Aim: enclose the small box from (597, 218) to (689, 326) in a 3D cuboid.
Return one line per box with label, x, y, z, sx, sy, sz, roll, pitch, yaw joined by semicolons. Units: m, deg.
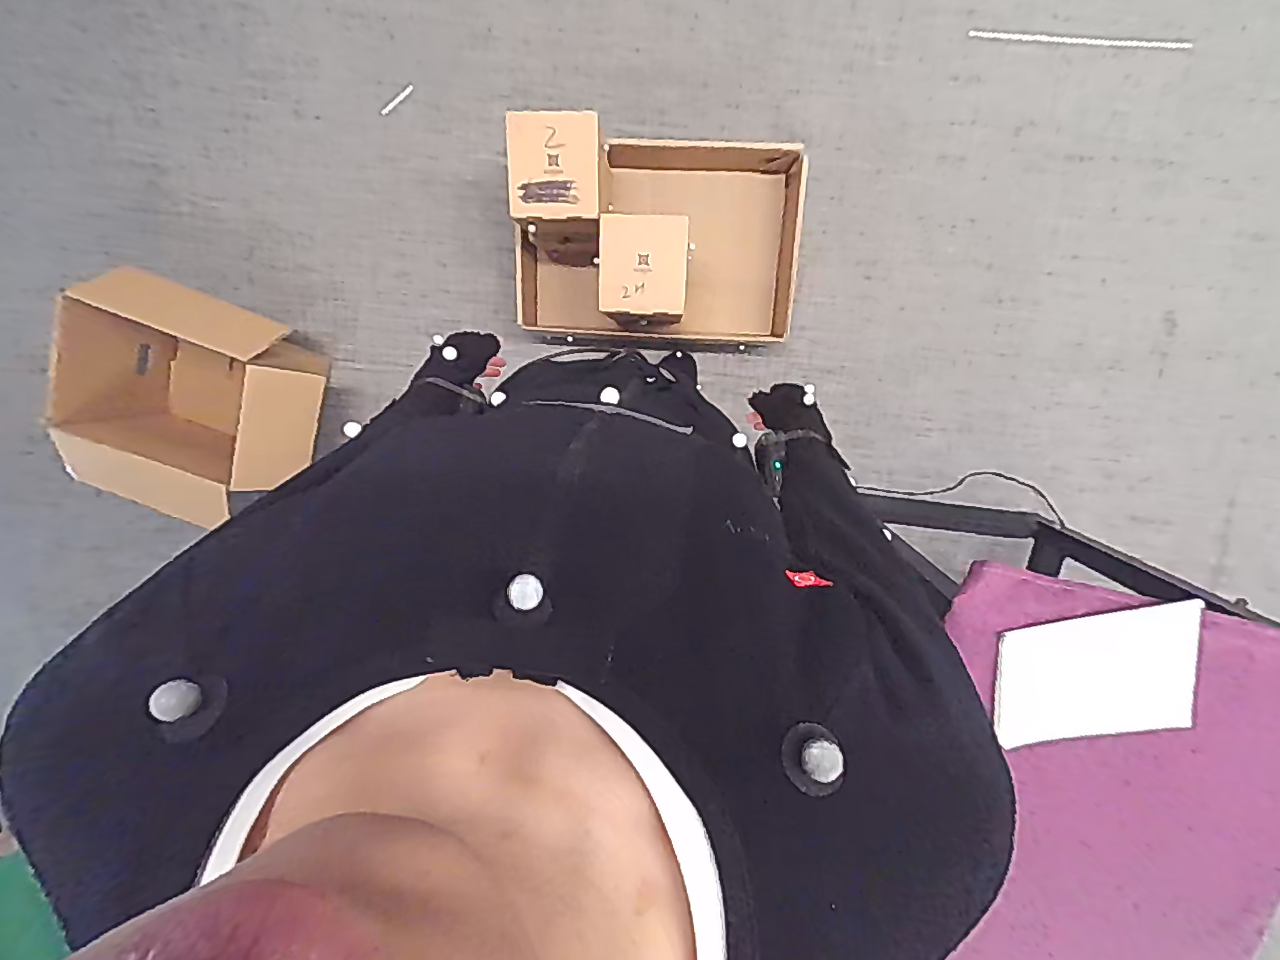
small box;0.006;-0.408;1.083;0.168;0.176;0.179;3;103;2
